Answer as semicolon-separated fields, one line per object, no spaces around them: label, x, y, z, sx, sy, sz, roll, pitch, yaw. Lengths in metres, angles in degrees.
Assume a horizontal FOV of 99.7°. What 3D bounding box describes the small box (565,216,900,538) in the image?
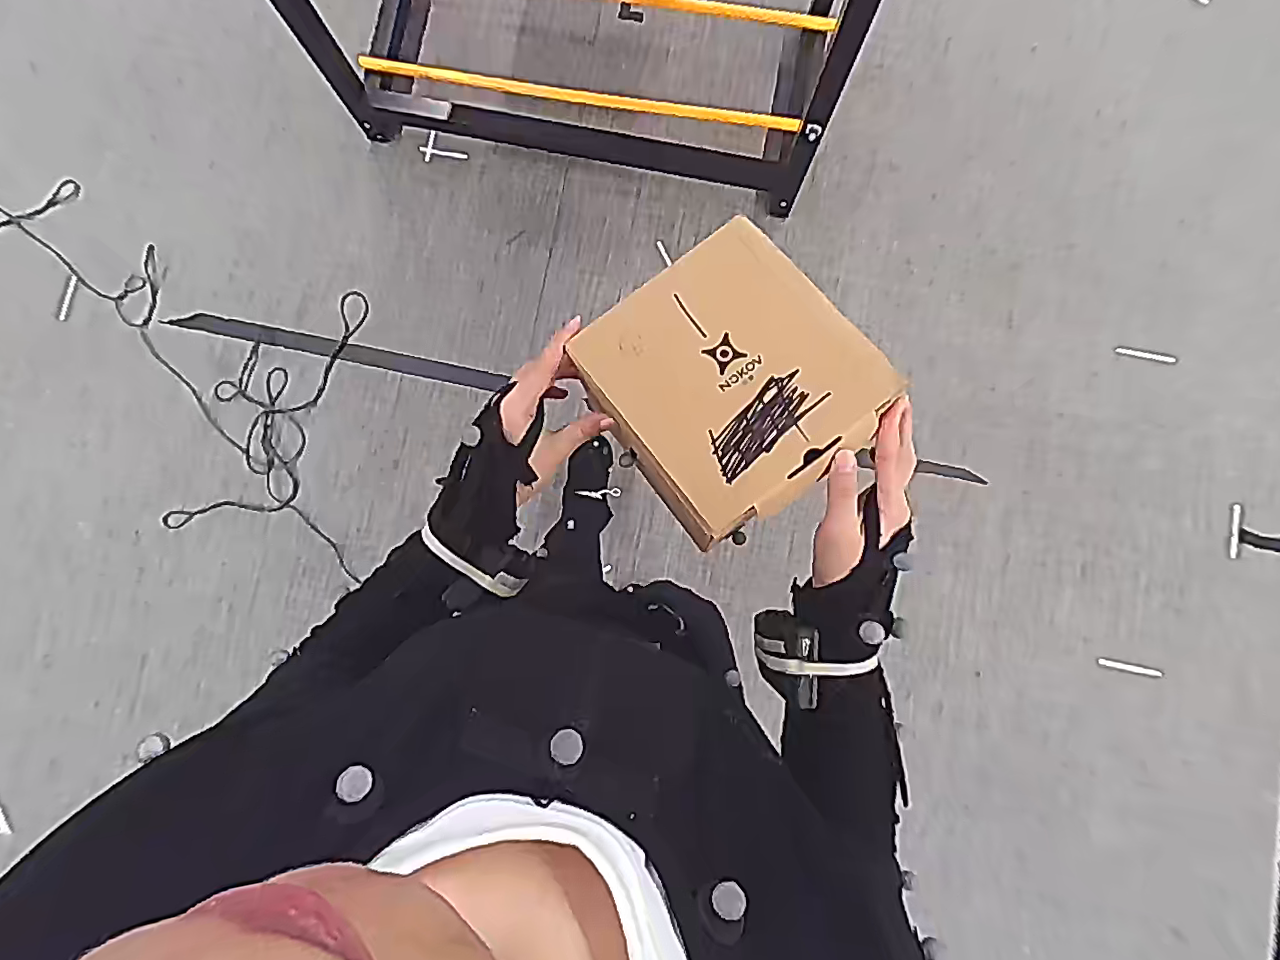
small box;0.067;-0.065;0.451;0.168;0.176;0.179;-37;78;-4
